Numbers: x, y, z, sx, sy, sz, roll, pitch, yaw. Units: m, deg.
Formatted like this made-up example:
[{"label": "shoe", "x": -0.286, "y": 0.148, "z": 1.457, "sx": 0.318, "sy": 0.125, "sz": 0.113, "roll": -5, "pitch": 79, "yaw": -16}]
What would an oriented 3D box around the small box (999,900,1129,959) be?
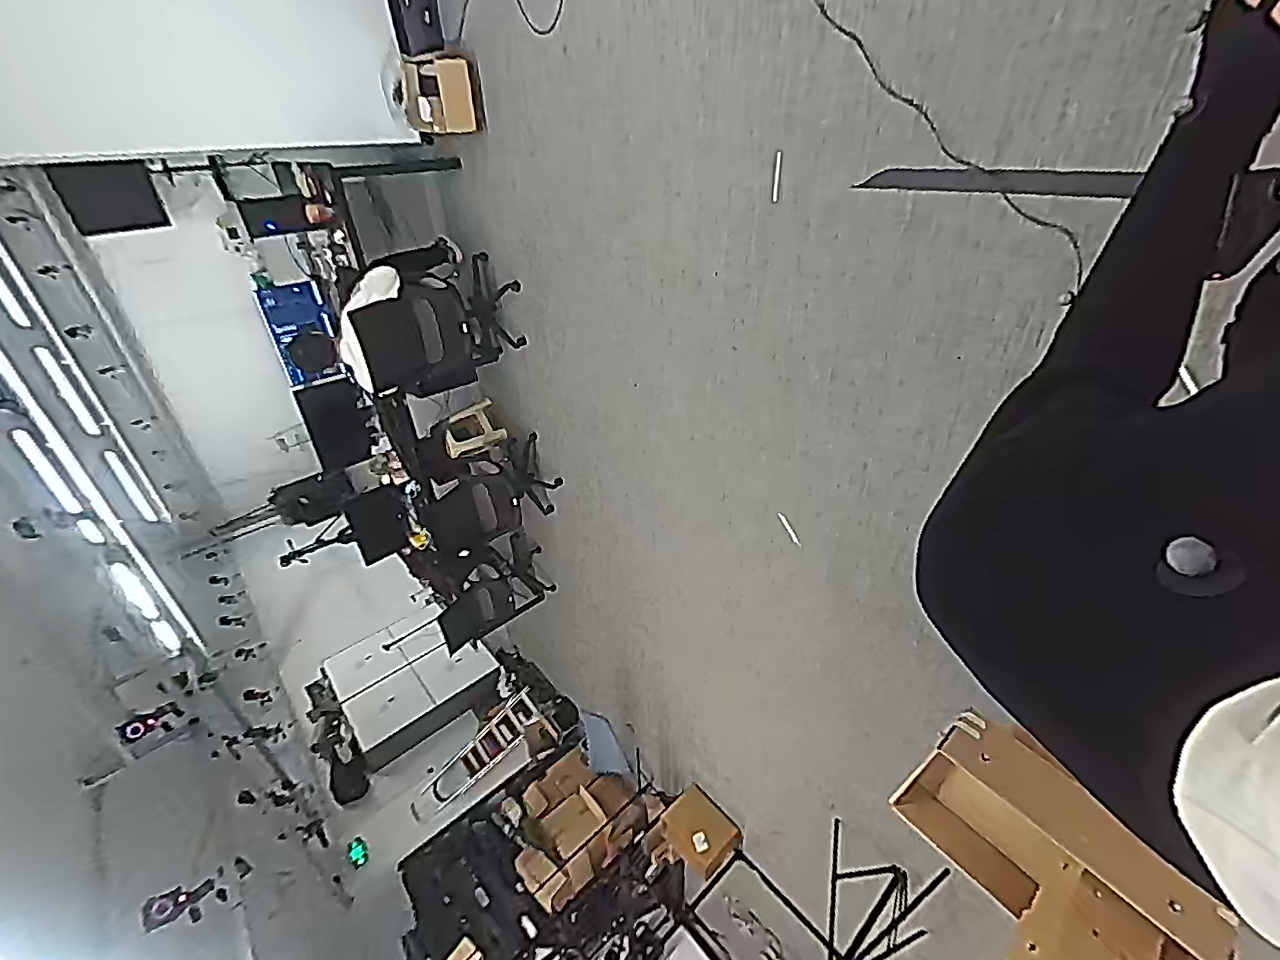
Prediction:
[{"label": "small box", "x": 0.983, "y": 1.112, "z": 1.244, "sx": 0.168, "sy": 0.176, "sz": 0.179, "roll": 43, "pitch": 144, "yaw": 28}]
